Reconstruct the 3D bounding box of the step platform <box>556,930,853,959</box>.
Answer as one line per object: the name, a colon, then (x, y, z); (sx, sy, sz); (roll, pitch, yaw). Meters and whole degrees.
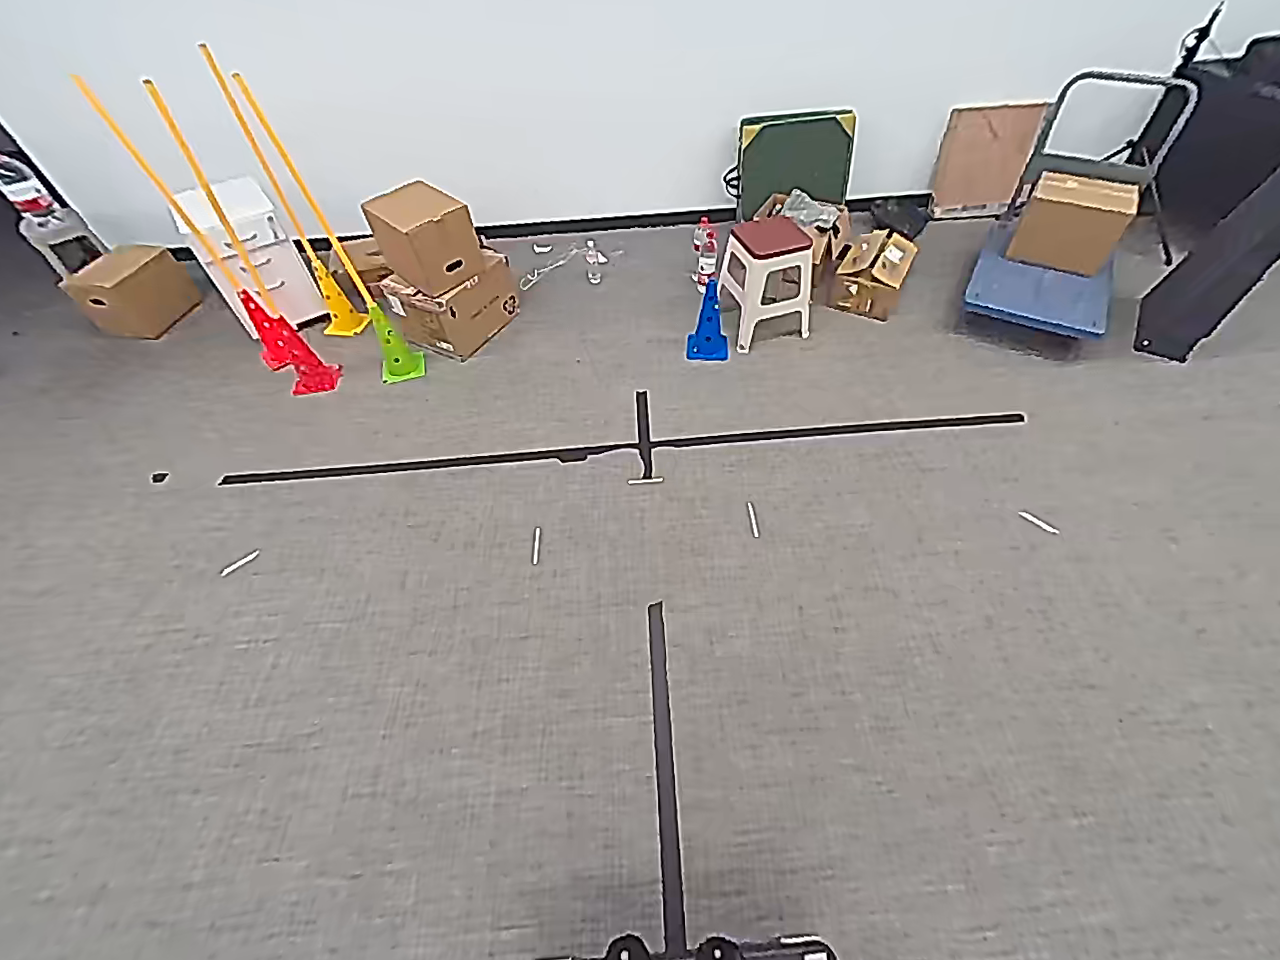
step platform: (0.124, 1.129, 1.094); (0.684, 0.204, 0.286); (-5, 50, -2)
